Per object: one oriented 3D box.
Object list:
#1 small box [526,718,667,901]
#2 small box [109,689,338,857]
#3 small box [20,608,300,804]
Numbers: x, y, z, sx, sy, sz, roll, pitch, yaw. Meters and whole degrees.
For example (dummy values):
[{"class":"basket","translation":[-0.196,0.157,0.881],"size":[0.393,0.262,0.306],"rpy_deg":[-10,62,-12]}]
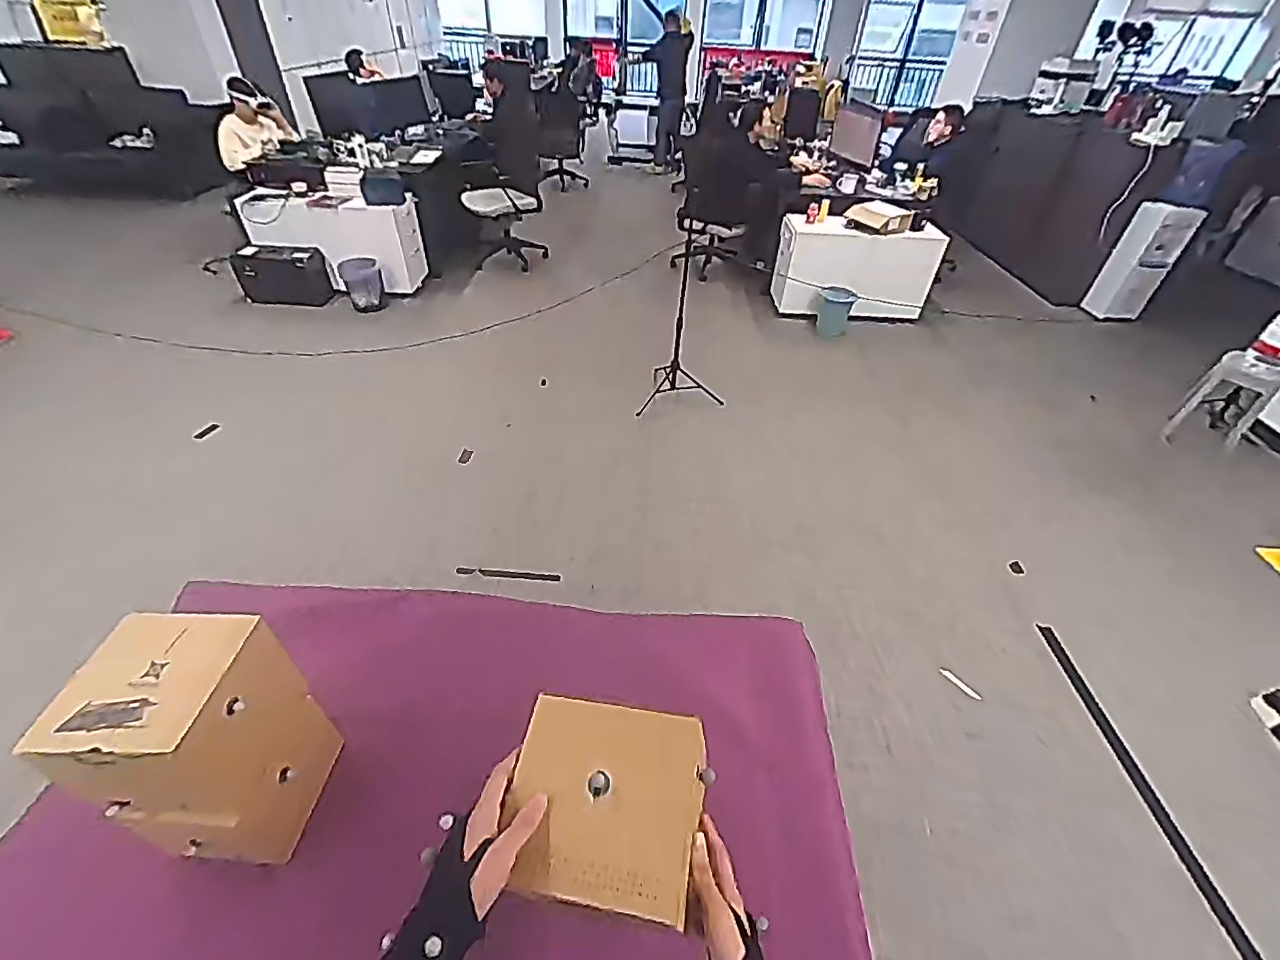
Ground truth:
[{"class":"small box","translation":[-0.052,0.465,0.761],"size":[0.168,0.176,0.179],"rpy_deg":[5,40,2]},{"class":"small box","translation":[-0.570,0.414,0.776],"size":[0.168,0.176,0.179],"rpy_deg":[6,41,1]},{"class":"small box","translation":[-0.565,0.284,0.676],"size":[0.168,0.176,0.179],"rpy_deg":[3,41,-2]}]
